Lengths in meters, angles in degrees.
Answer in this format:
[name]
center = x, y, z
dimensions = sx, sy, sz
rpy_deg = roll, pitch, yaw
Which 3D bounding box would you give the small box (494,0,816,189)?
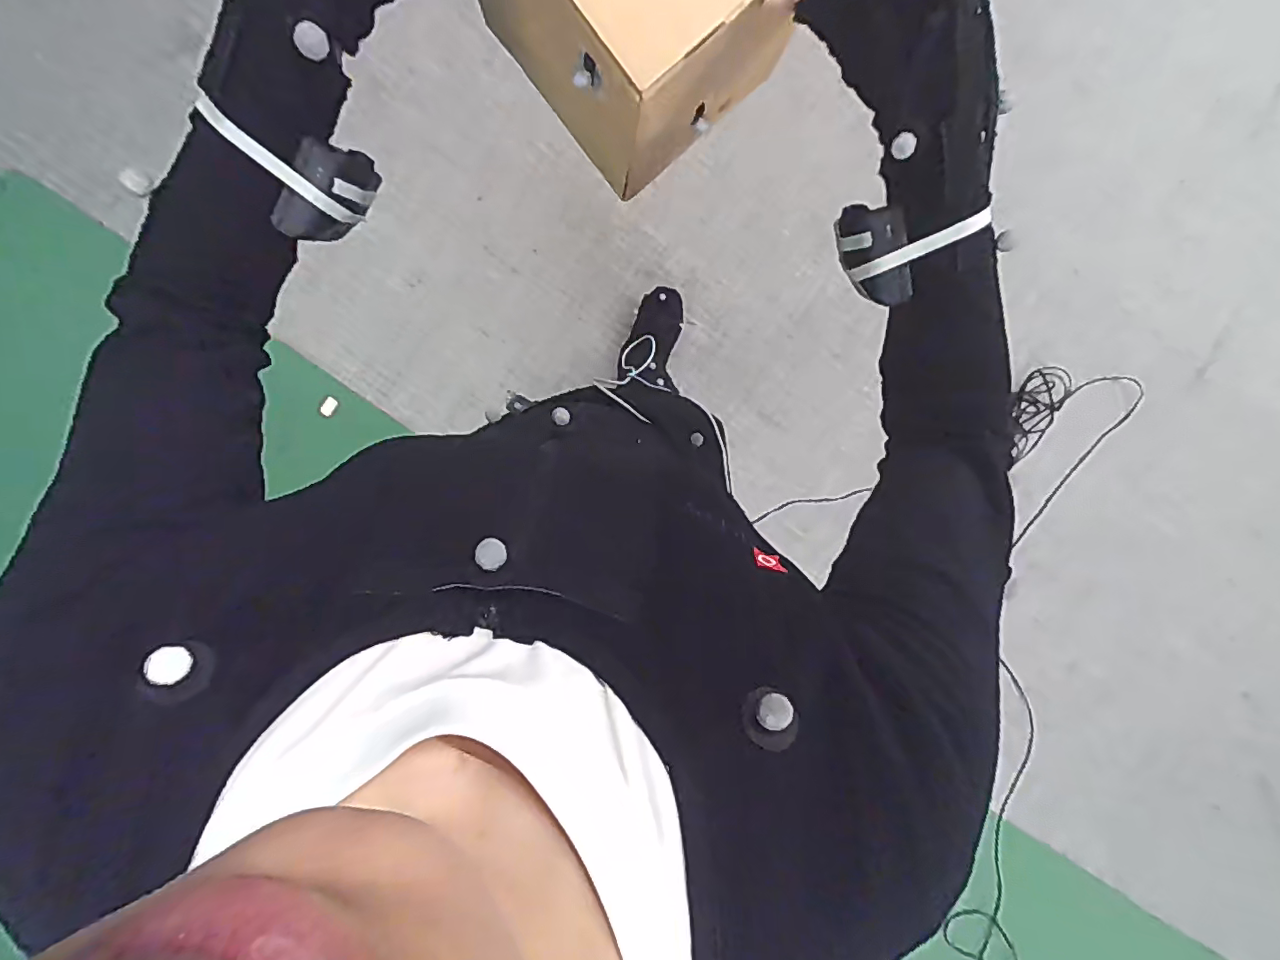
[small box]
center = 0.005, -0.343, 0.365
dimensions = 0.168, 0.176, 0.179
rpy_deg = -40, 101, 2
